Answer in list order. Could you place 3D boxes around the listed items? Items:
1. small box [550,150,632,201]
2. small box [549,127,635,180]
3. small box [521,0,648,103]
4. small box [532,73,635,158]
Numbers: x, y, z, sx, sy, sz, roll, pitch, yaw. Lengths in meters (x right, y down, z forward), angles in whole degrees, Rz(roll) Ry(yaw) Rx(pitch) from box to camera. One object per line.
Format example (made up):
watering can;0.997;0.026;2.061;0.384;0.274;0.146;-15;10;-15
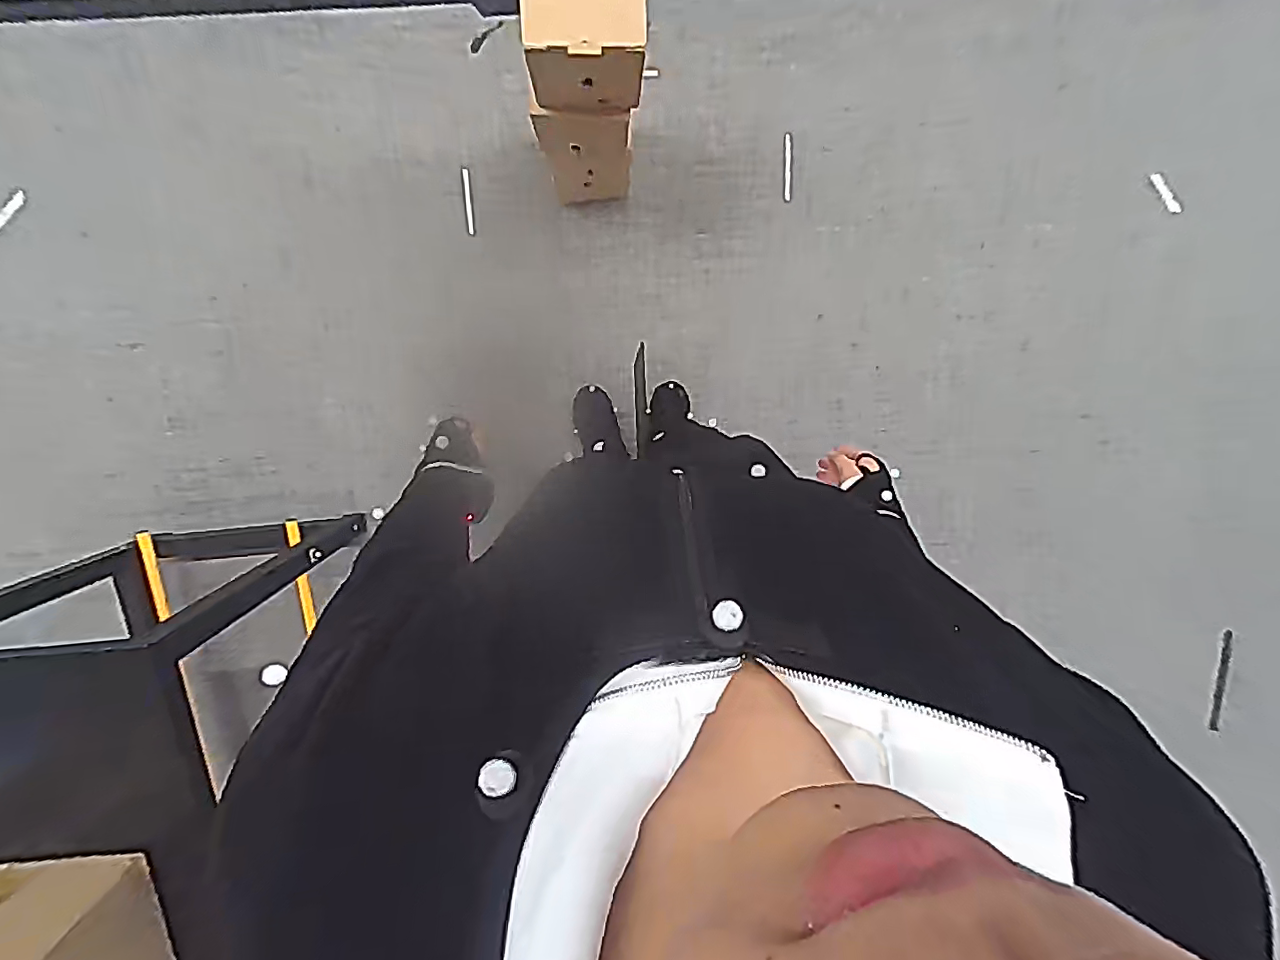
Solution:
small box;-0.114;-0.758;1.244;0.179;0.176;0.168;-7;103;-2
small box;-0.100;-0.725;1.084;0.168;0.176;0.179;-3;103;-2
small box;-0.073;-0.664;0.764;0.168;0.176;0.179;-1;103;-3
small box;-0.091;-0.684;0.926;0.168;0.176;0.179;2;103;-3
